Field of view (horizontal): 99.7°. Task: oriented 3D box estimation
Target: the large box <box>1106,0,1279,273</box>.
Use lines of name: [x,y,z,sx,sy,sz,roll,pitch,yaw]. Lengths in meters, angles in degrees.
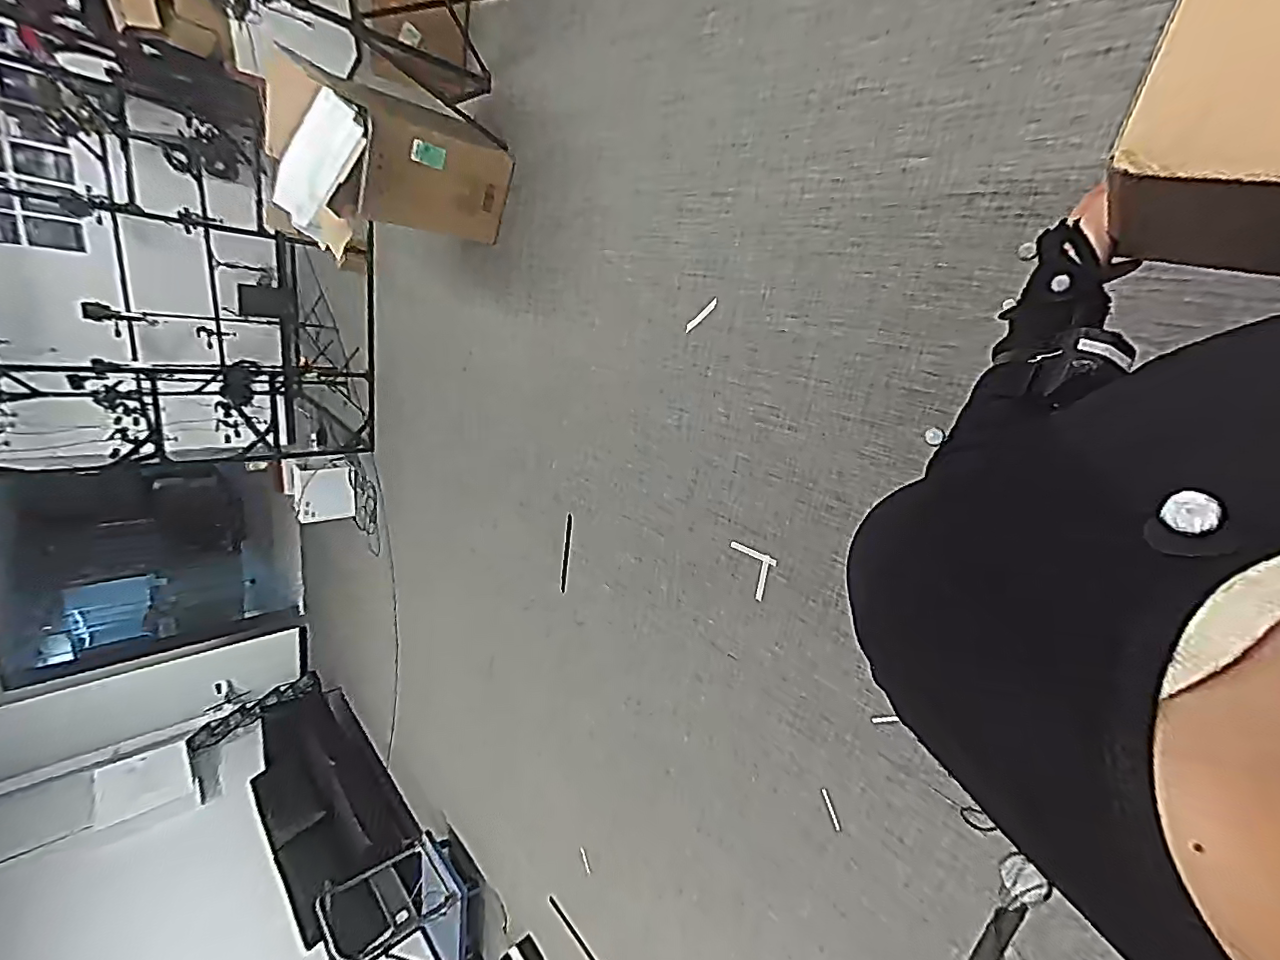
large box: [0.500,-0.250,0.216,0.408,0.320,0.320,26,116,33]
